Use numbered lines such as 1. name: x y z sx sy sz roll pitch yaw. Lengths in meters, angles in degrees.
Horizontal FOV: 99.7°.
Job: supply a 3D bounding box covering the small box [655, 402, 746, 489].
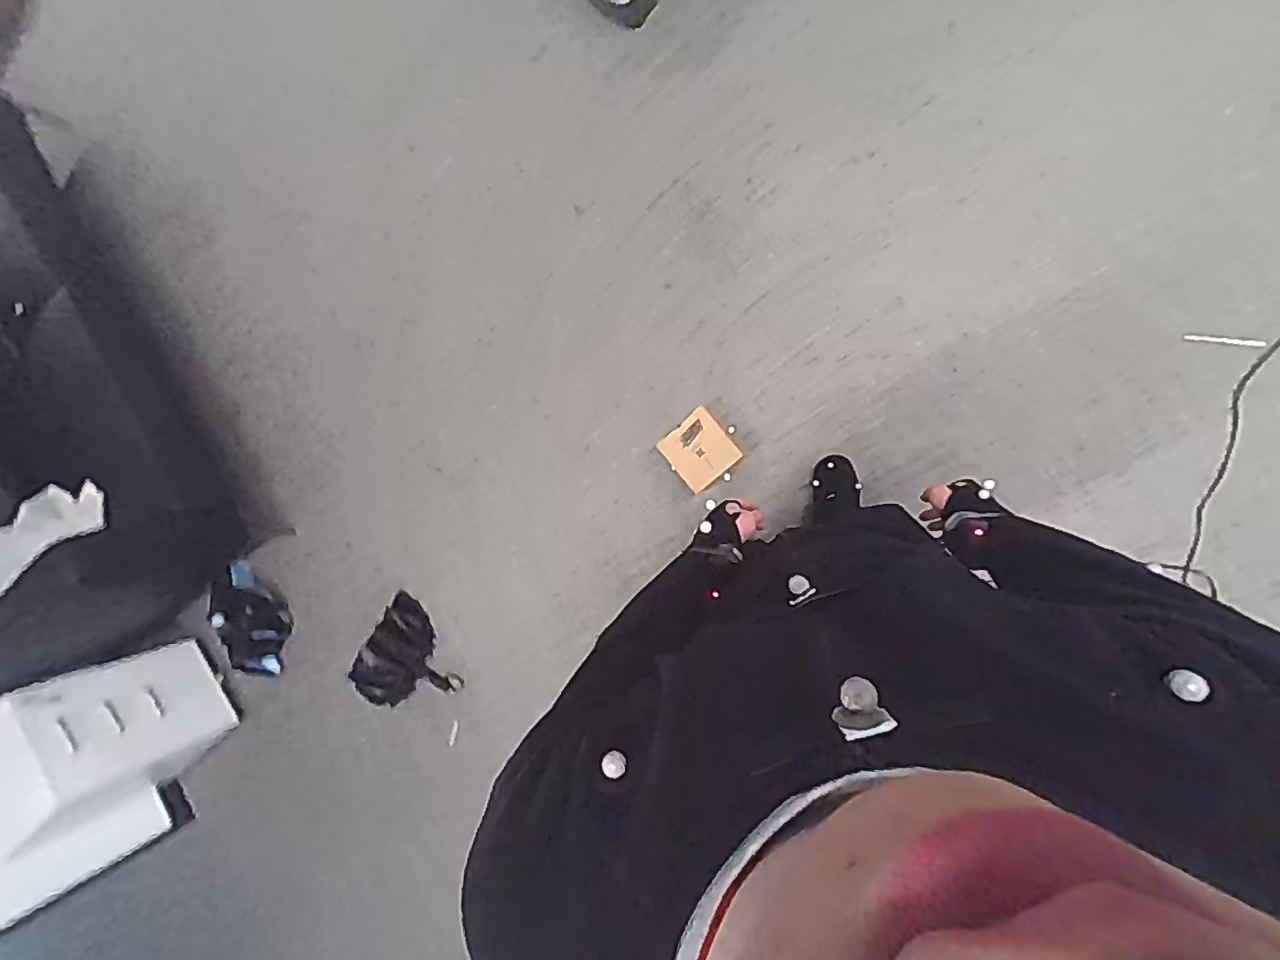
1. small box: 0.173 -0.094 1.504 0.168 0.176 0.179 -41 82 17
